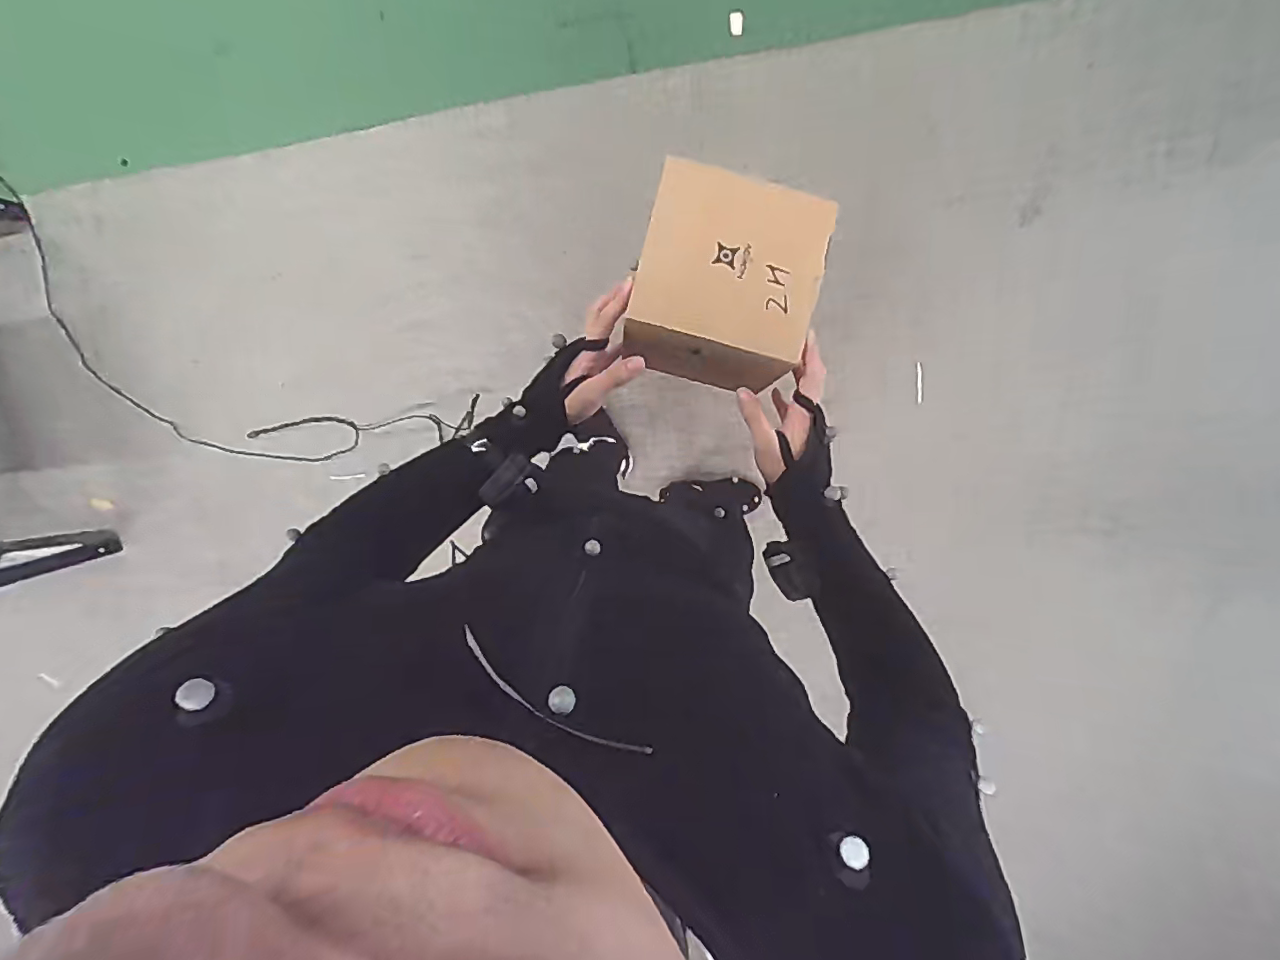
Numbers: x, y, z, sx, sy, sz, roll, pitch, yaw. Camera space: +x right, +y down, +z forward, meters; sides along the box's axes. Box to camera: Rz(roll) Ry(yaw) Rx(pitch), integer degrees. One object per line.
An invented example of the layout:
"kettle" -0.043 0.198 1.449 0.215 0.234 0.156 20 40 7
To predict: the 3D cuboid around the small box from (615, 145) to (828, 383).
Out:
"small box" 0.075 -0.218 0.594 0.179 0.176 0.168 14 87 -3
